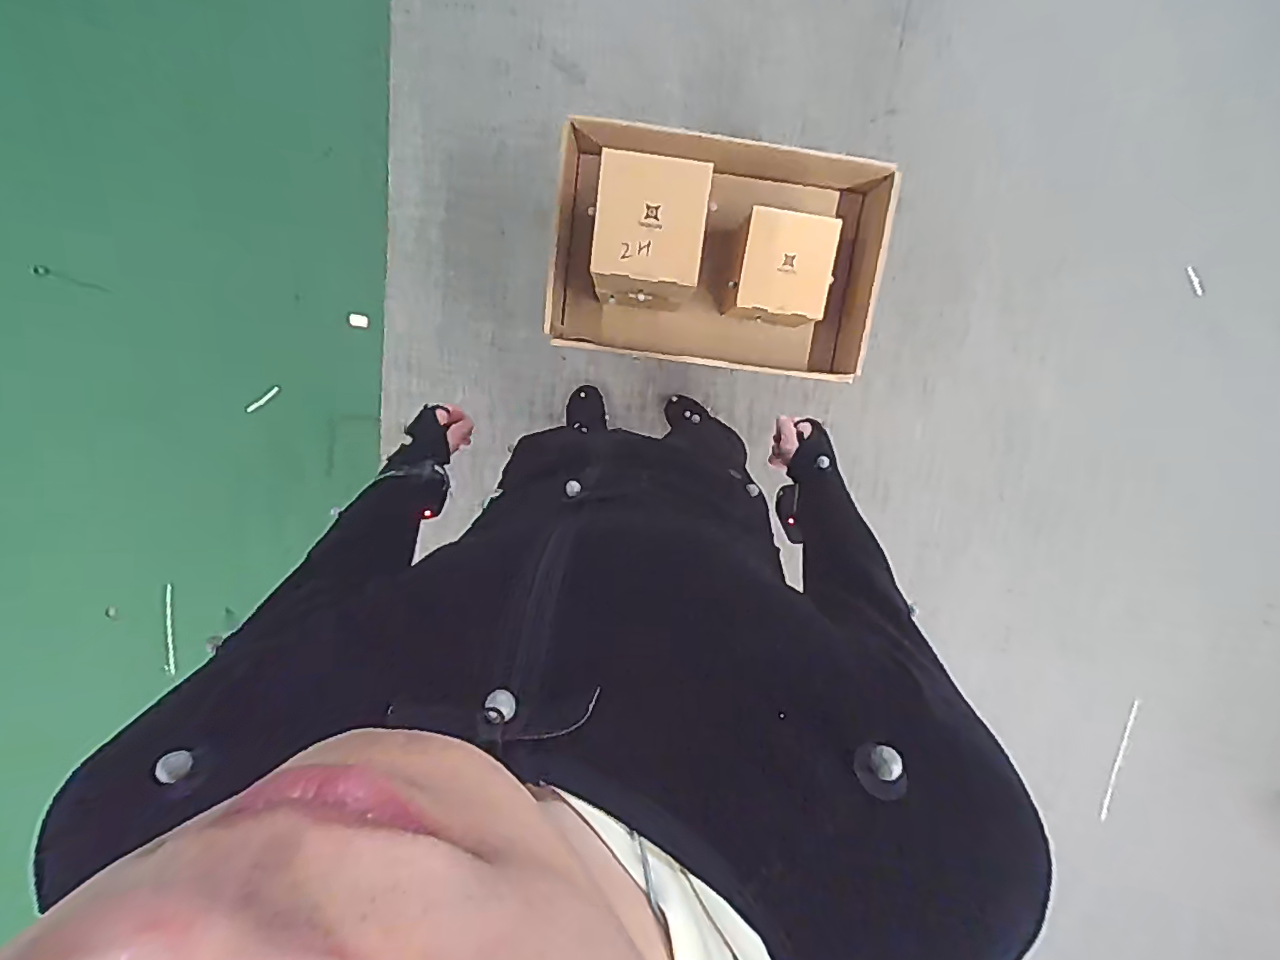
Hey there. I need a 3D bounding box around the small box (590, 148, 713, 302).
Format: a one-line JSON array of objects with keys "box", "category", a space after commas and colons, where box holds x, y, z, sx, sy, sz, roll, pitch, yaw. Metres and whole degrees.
[{"box": [0.013, -0.399, 0.875, 0.168, 0.176, 0.179, 7, 101, -3], "category": "small box"}]
